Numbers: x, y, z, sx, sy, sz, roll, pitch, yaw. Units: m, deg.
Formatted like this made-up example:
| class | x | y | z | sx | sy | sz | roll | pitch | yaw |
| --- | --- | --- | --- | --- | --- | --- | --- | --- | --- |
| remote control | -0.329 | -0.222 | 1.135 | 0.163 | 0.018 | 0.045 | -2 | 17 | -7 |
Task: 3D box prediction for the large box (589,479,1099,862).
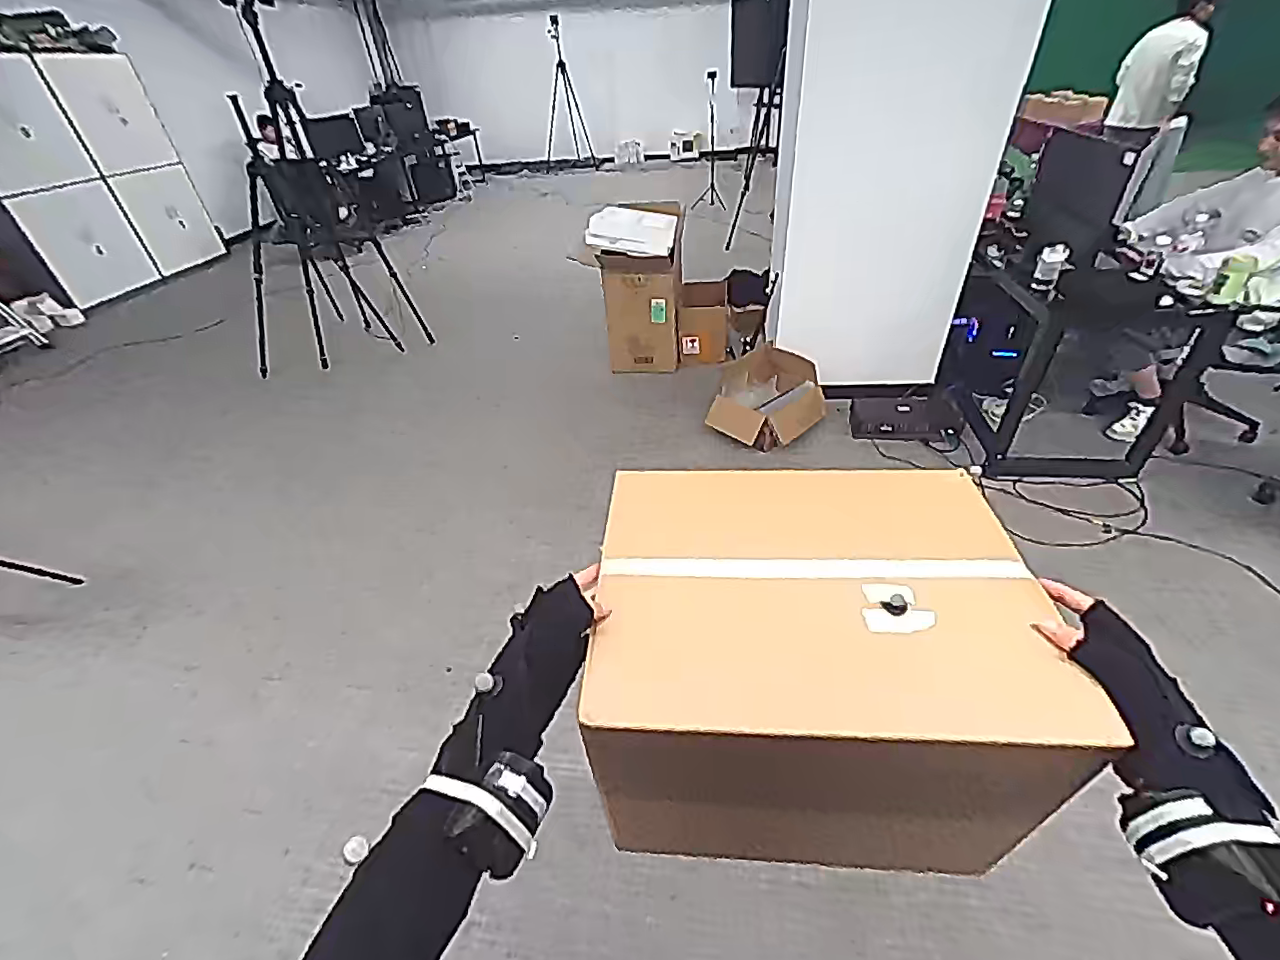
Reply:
| class | x | y | z | sx | sy | sz | roll | pitch | yaw |
| --- | --- | --- | --- | --- | --- | --- | --- | --- | --- |
| large box | 0.168 | 0.212 | 0.631 | 0.408 | 0.320 | 0.320 | 0 | 40 | 5 |
